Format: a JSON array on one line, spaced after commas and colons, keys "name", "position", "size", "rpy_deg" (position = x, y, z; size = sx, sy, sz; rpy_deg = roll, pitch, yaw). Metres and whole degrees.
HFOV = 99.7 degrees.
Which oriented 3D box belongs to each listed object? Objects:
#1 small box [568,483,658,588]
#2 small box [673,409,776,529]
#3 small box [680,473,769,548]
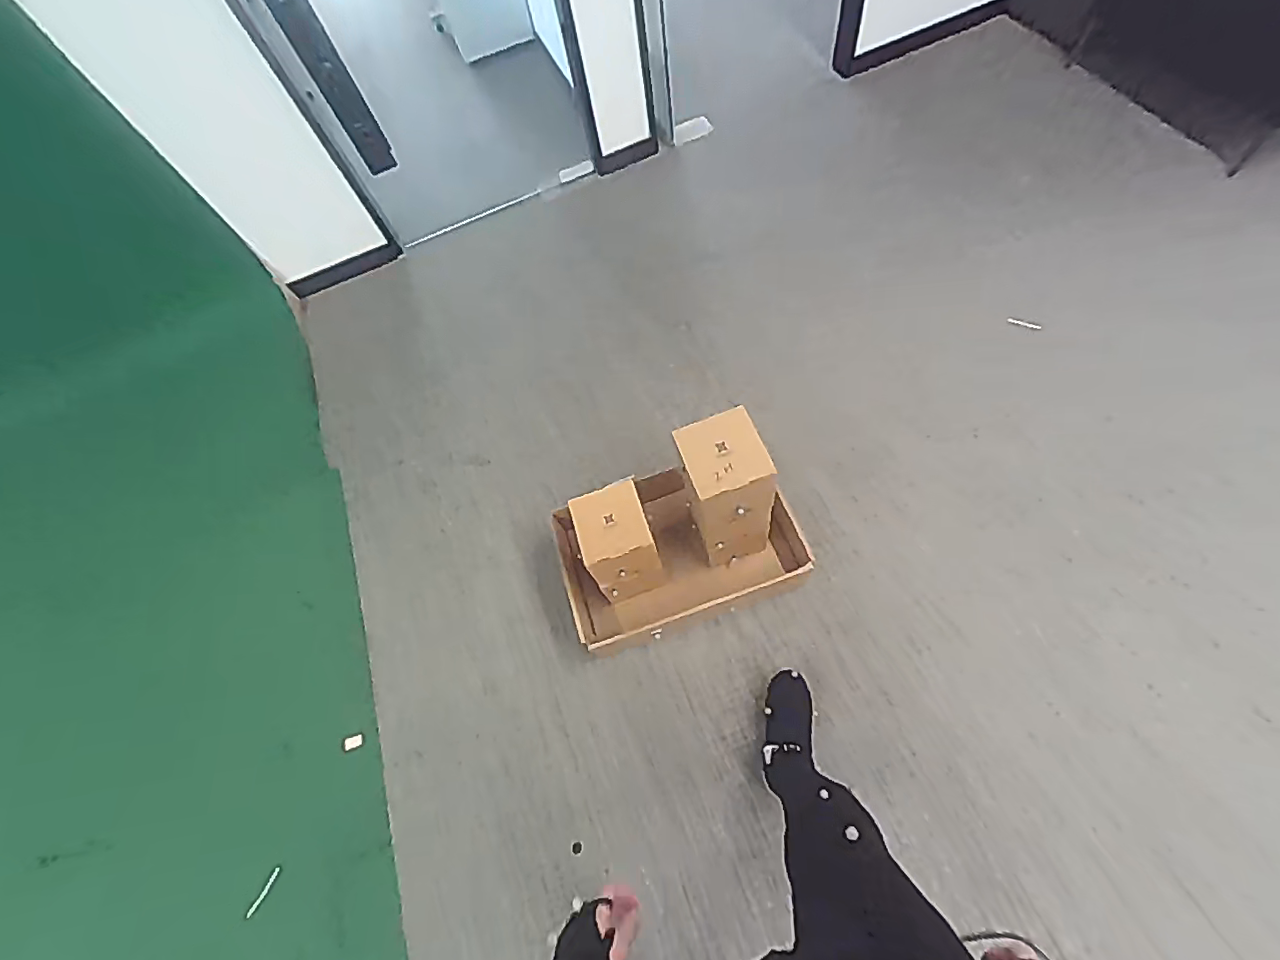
[{"name": "small box", "position": [-0.062, 0.138, 1.317], "size": [0.168, 0.176, 0.179], "rpy_deg": [-19, 61, -2]}, {"name": "small box", "position": [0.180, -0.019, 1.171], "size": [0.168, 0.176, 0.179], "rpy_deg": [-20, 62, 1]}, {"name": "small box", "position": [0.206, 0.051, 1.319], "size": [0.168, 0.176, 0.179], "rpy_deg": [-18, 61, 1]}]
